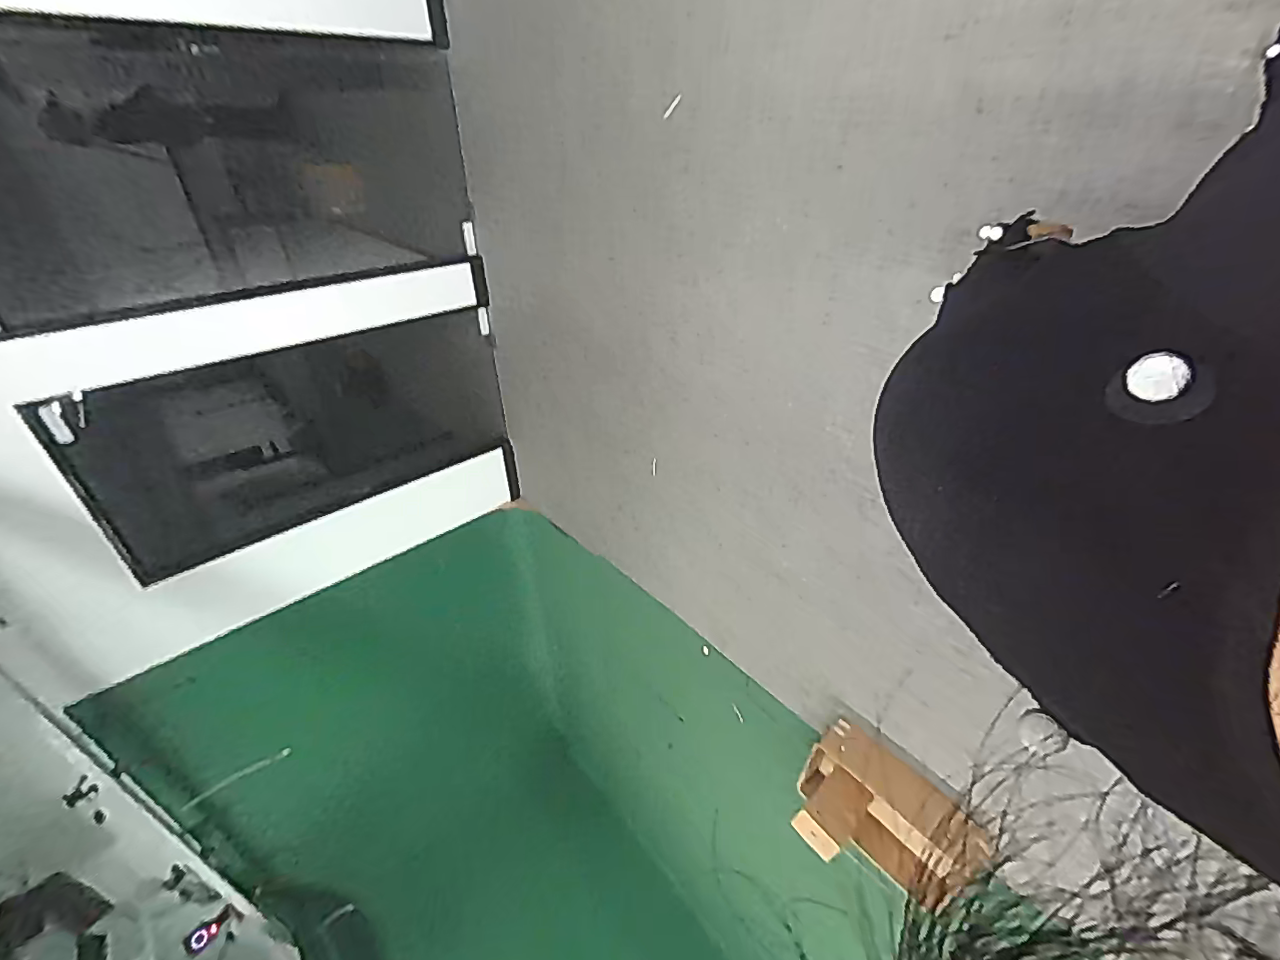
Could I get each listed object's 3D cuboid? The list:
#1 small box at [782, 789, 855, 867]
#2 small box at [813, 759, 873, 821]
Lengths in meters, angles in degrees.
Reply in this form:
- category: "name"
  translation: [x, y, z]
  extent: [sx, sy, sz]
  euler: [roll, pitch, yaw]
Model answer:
- category: "small box"
  translation: [0.688, 1.331, 2.082]
  extent: [0.179, 0.176, 0.168]
  euler: [39, 138, 30]
- category: "small box"
  translation: [0.808, 1.275, 2.180]
  extent: [0.168, 0.176, 0.179]
  euler: [38, 136, 30]
